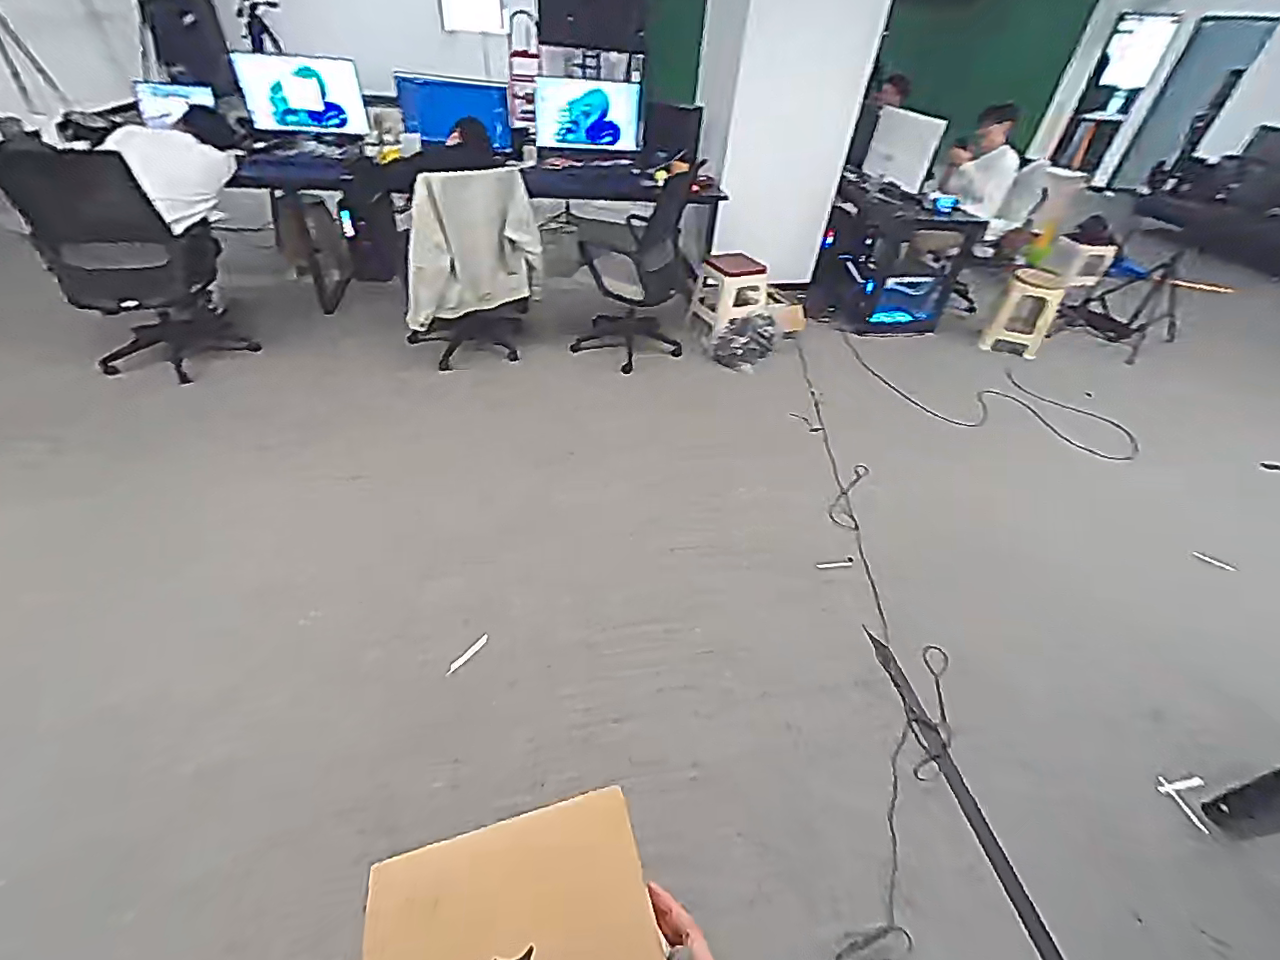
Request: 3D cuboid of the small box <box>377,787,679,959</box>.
[{"bbox_3d":[-0.058,0.340,0.340,0.168,0.176,0.179,-12,38,-12],"label":"small box"}]
